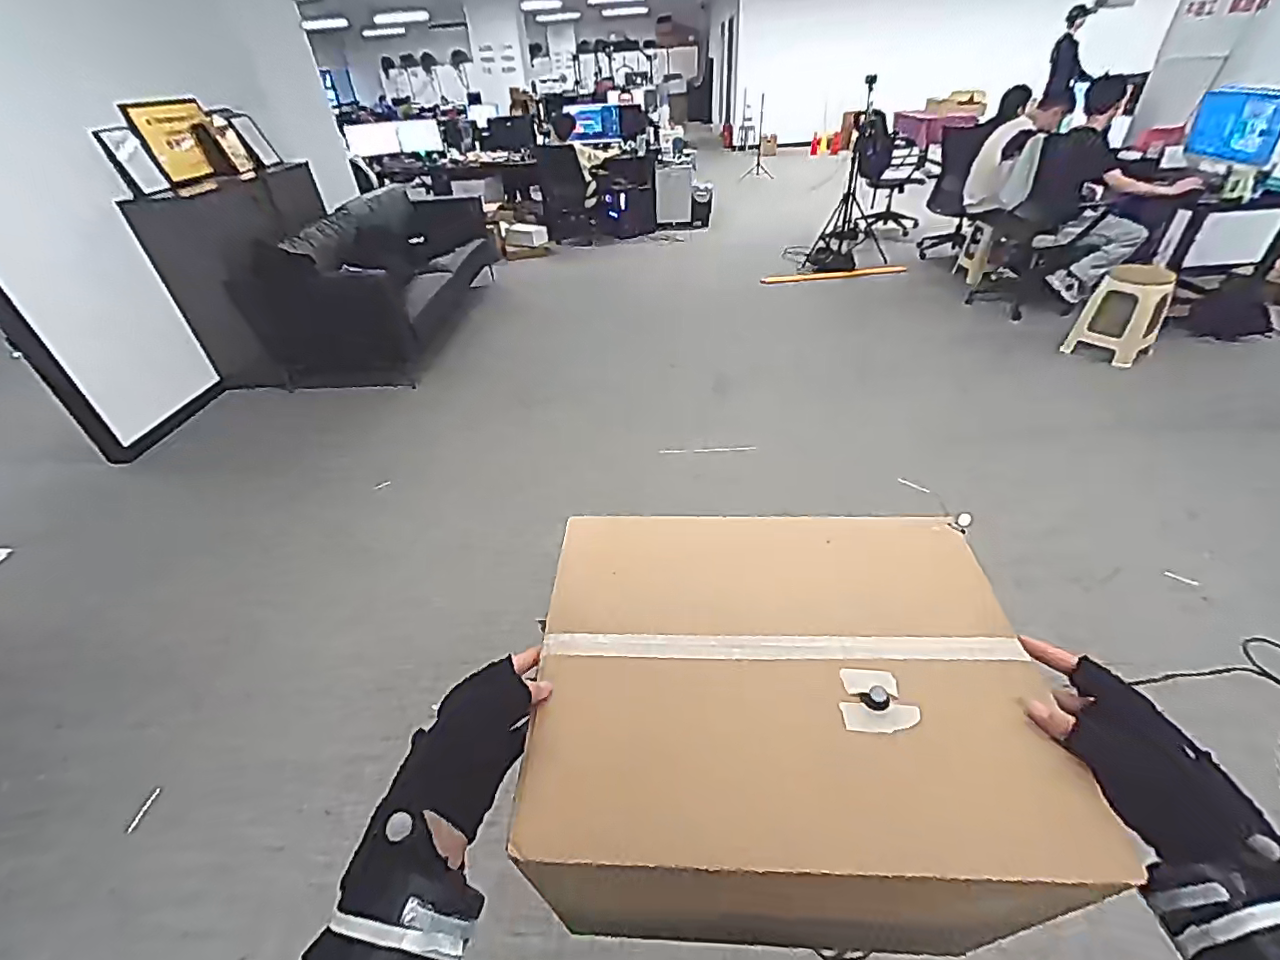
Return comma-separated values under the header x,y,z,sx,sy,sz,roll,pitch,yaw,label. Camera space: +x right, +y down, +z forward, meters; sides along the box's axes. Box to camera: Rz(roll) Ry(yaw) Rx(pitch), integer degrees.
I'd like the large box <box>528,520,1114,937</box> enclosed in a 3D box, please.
x,y,z,sx,sy,sz,roll,pitch,yaw,label
0.127,0.259,0.573,0.408,0.320,0.320,-1,43,3,large box
